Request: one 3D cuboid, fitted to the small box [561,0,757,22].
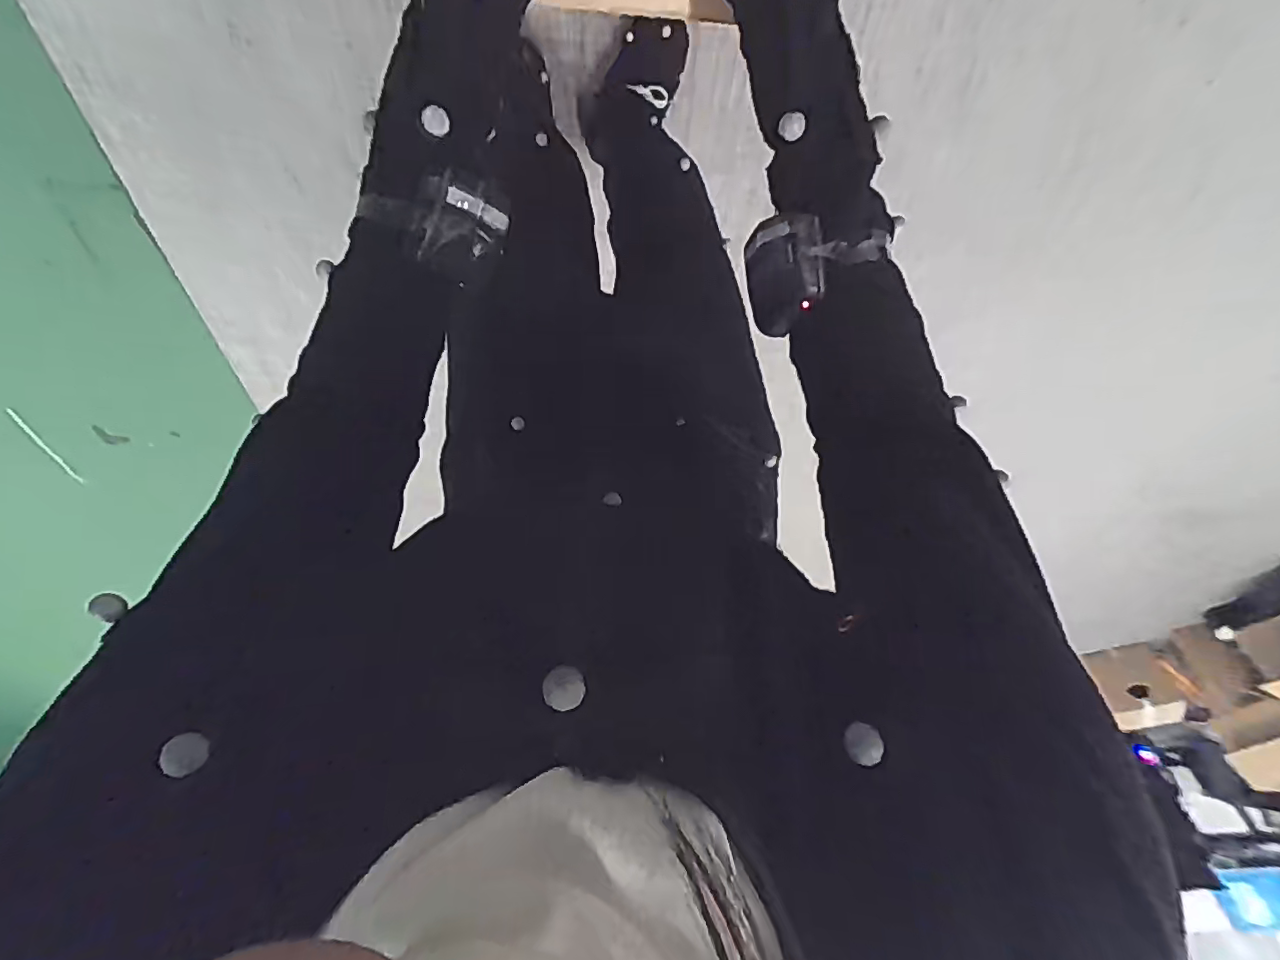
[{"bbox_3d":[-0.012,-0.434,0.365,0.179,0.176,0.168,-4,135,-12],"label":"small box"}]
